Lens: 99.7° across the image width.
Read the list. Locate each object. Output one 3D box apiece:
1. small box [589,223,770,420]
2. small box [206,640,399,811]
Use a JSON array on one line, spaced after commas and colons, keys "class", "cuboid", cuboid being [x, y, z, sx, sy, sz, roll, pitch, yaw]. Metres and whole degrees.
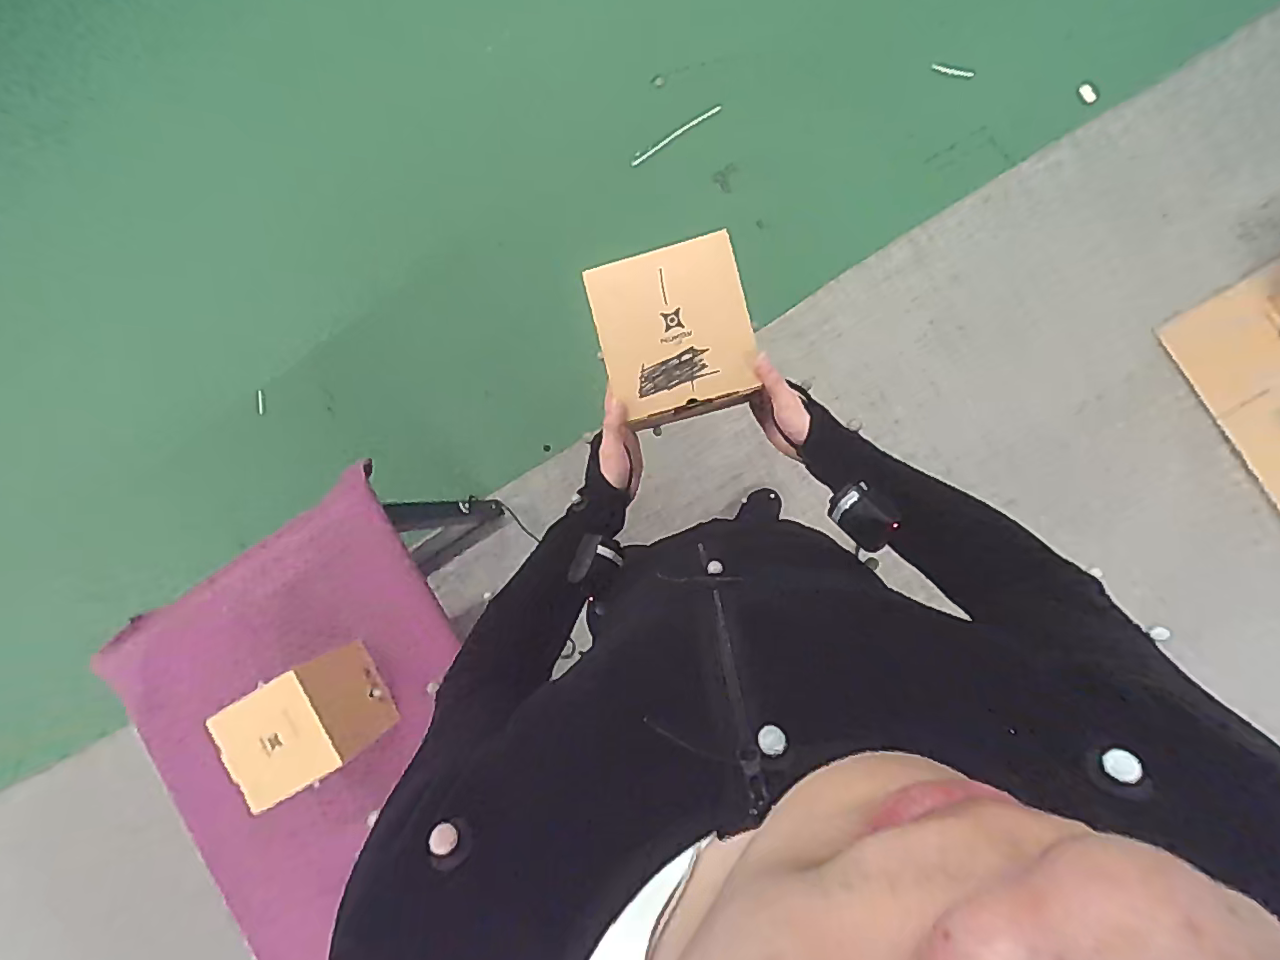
[{"class": "small box", "cuboid": [0.050, -0.174, 0.657, 0.168, 0.176, 0.179, -14, 91, 5]}, {"class": "small box", "cuboid": [-0.546, 0.394, 0.896, 0.179, 0.176, 0.168, -31, 87, 7]}]
